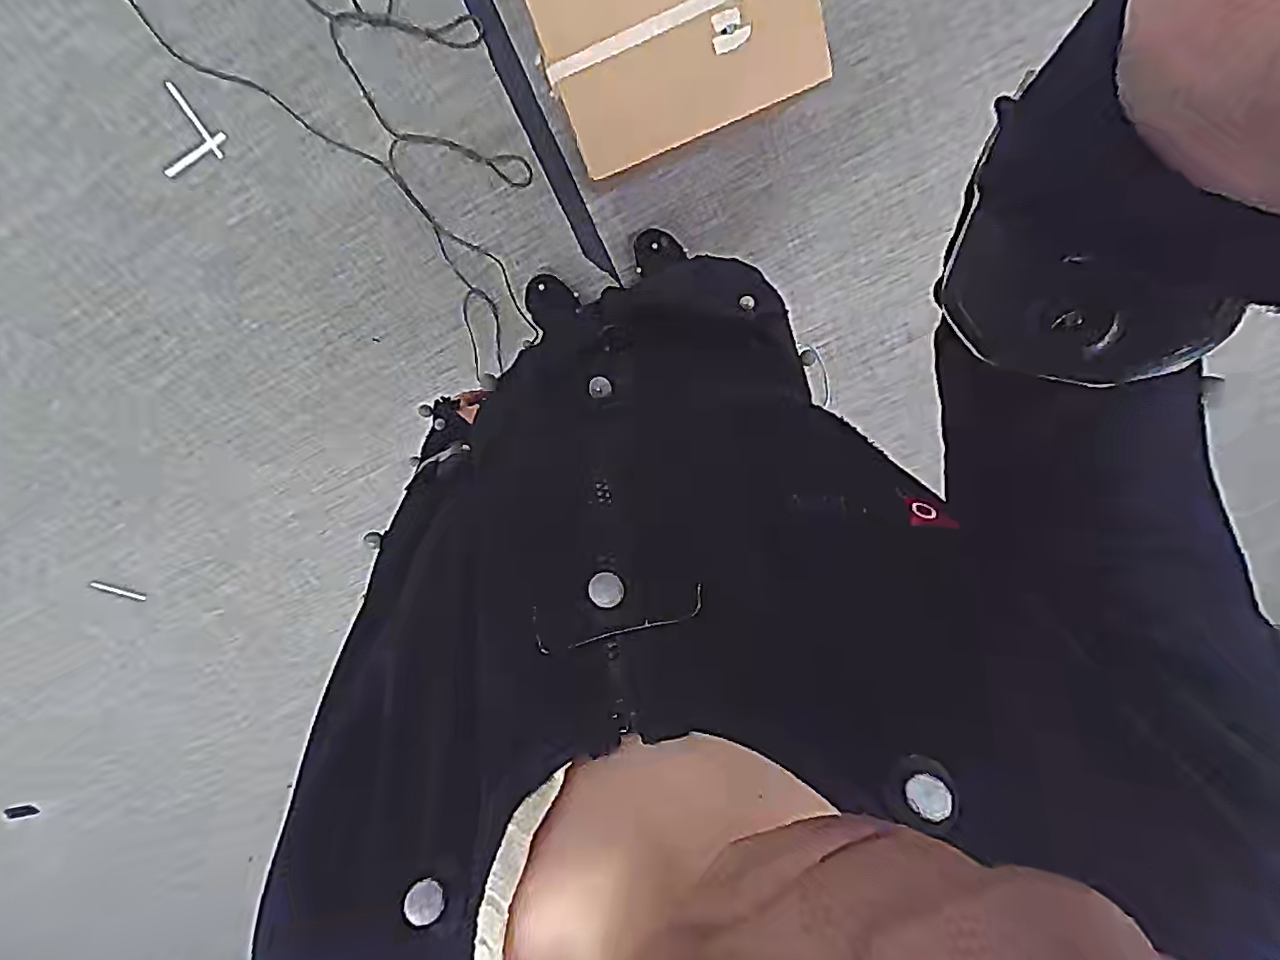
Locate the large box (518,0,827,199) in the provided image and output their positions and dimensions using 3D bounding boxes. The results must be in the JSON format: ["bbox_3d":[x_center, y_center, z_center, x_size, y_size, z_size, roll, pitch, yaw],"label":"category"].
[{"bbox_3d":[0.044,-0.735,0.934,0.408,0.320,0.320,-21,114,6],"label":"large box"}]
